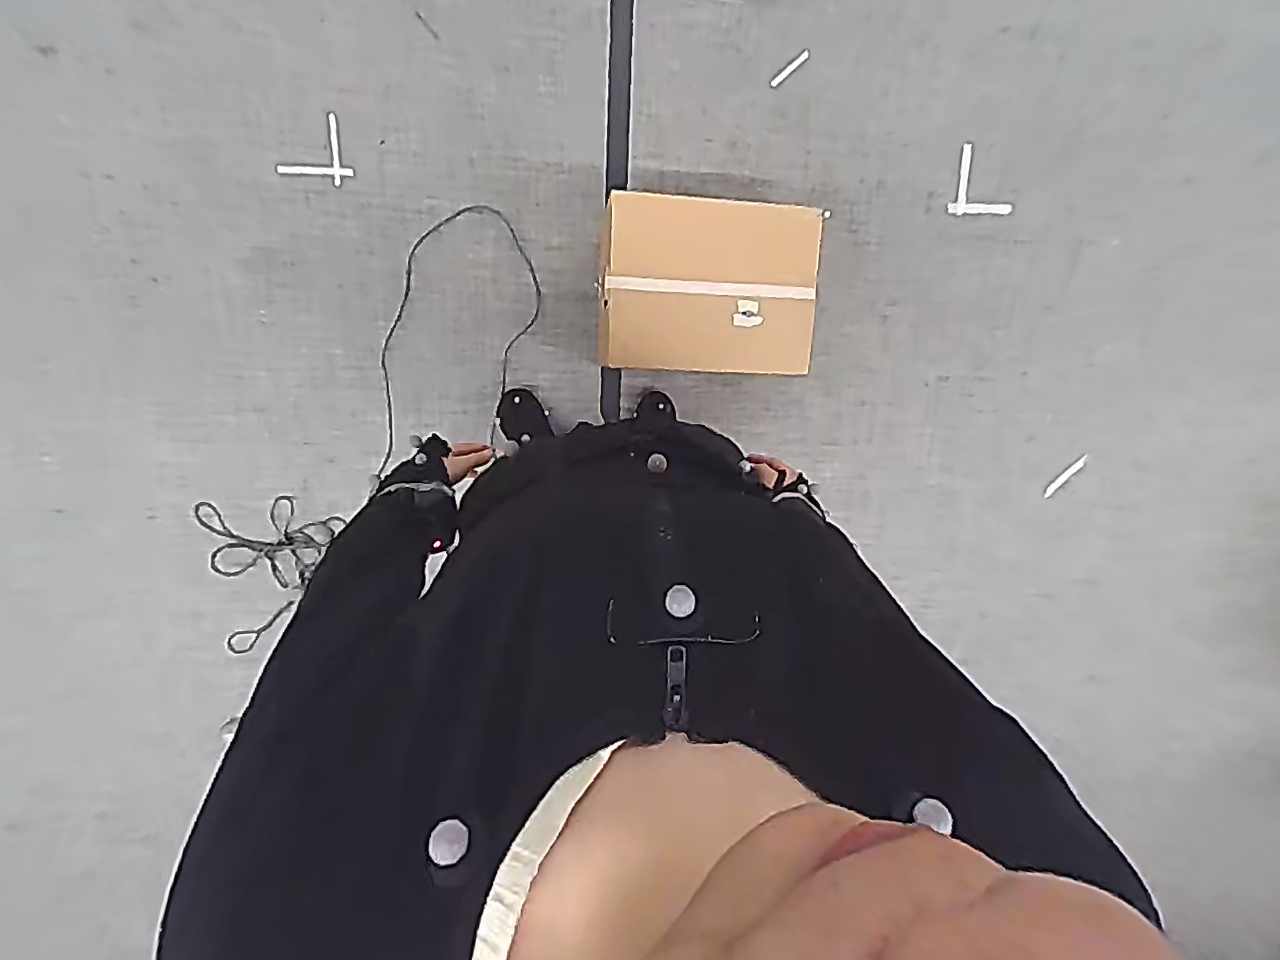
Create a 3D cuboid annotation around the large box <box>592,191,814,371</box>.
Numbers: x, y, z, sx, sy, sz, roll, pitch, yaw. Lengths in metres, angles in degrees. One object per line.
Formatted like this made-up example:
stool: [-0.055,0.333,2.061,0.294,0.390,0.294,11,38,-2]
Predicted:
large box: [0.106,-0.397,1.162,0.408,0.320,0.320,0,103,-9]
